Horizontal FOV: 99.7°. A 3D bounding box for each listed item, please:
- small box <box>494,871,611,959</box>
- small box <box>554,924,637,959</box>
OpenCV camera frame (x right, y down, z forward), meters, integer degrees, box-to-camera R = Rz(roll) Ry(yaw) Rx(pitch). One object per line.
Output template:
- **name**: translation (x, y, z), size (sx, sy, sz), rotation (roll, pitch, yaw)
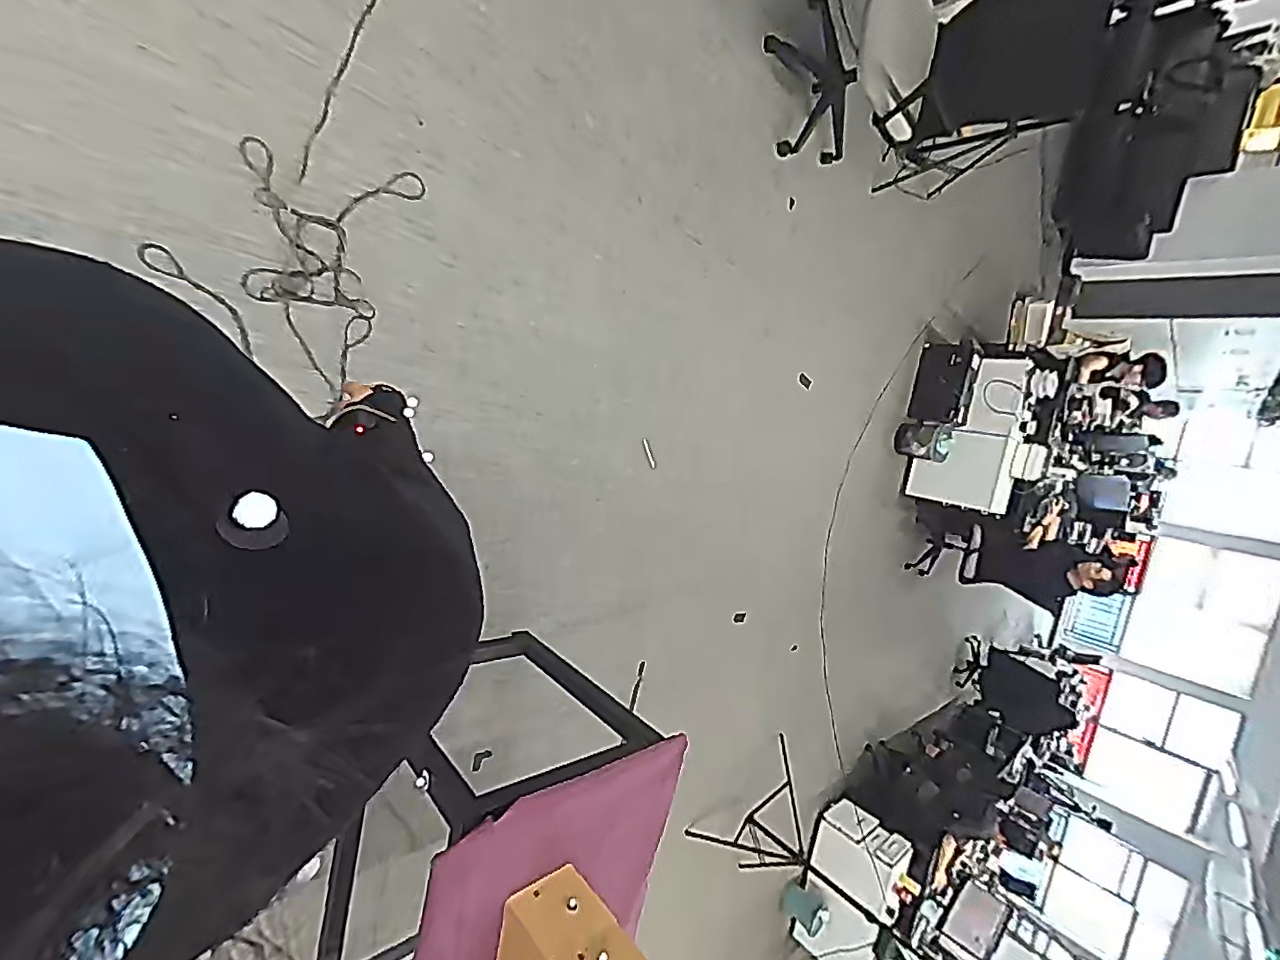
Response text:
- **small box**: translation (-0.185, 0.962, 1.121), size (0.168, 0.176, 0.179), rotation (3, 100, -45)
- **small box**: translation (-0.076, 0.997, 1.003), size (0.168, 0.176, 0.179), rotation (3, 100, -45)
